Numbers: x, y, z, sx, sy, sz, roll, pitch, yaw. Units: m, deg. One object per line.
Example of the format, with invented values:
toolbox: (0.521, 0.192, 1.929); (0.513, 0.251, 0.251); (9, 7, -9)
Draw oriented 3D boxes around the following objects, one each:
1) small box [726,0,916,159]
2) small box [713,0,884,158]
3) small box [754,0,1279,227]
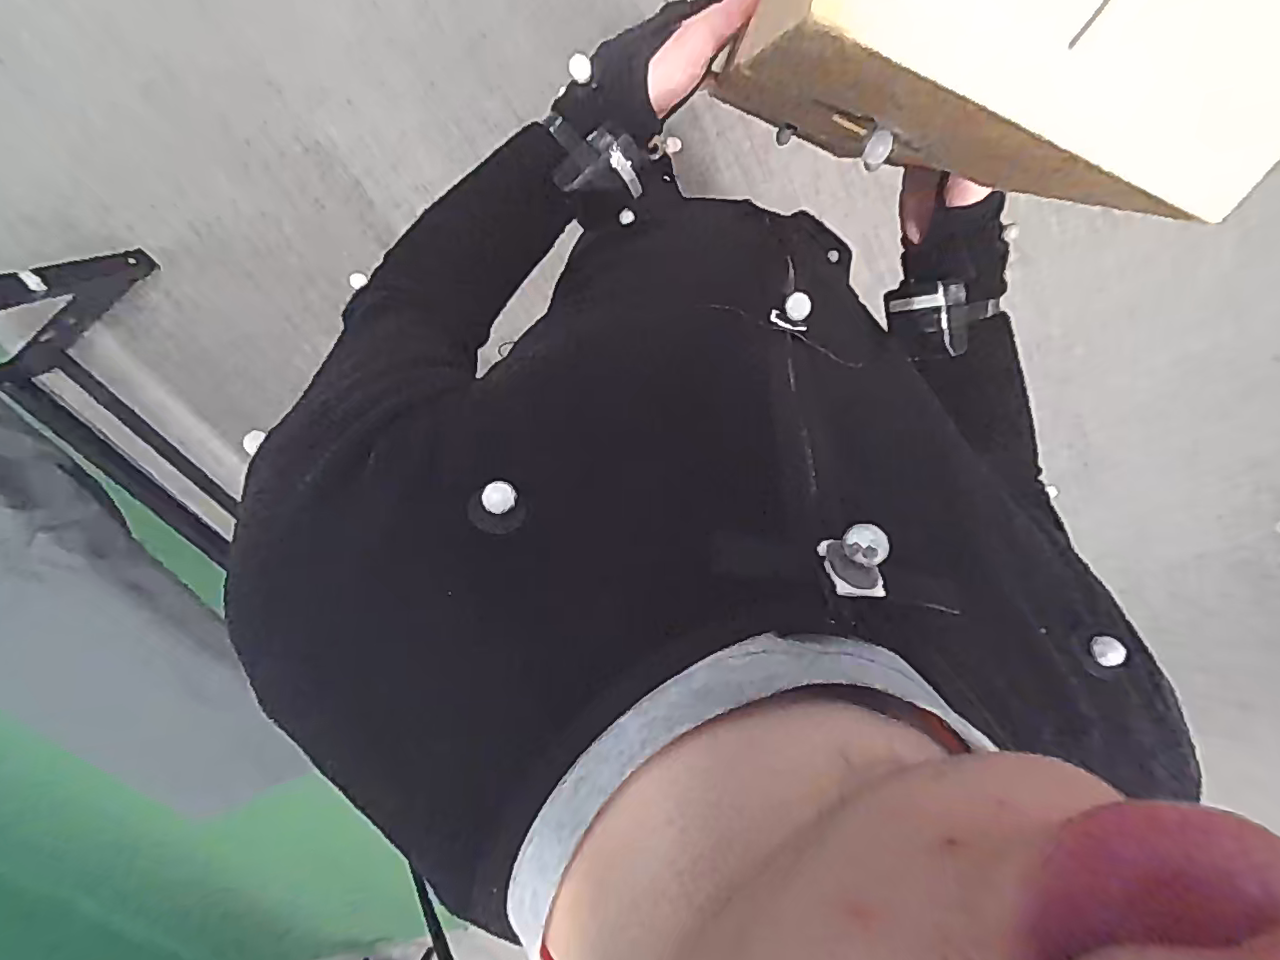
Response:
small box: (0.161, -0.317, 0.331); (0.168, 0.176, 0.179); (17, 121, -8)
small box: (0.172, -0.407, 0.466); (0.168, 0.176, 0.179); (19, 122, -8)
small box: (0.155, -0.224, 0.196); (0.168, 0.176, 0.179); (19, 123, -9)
